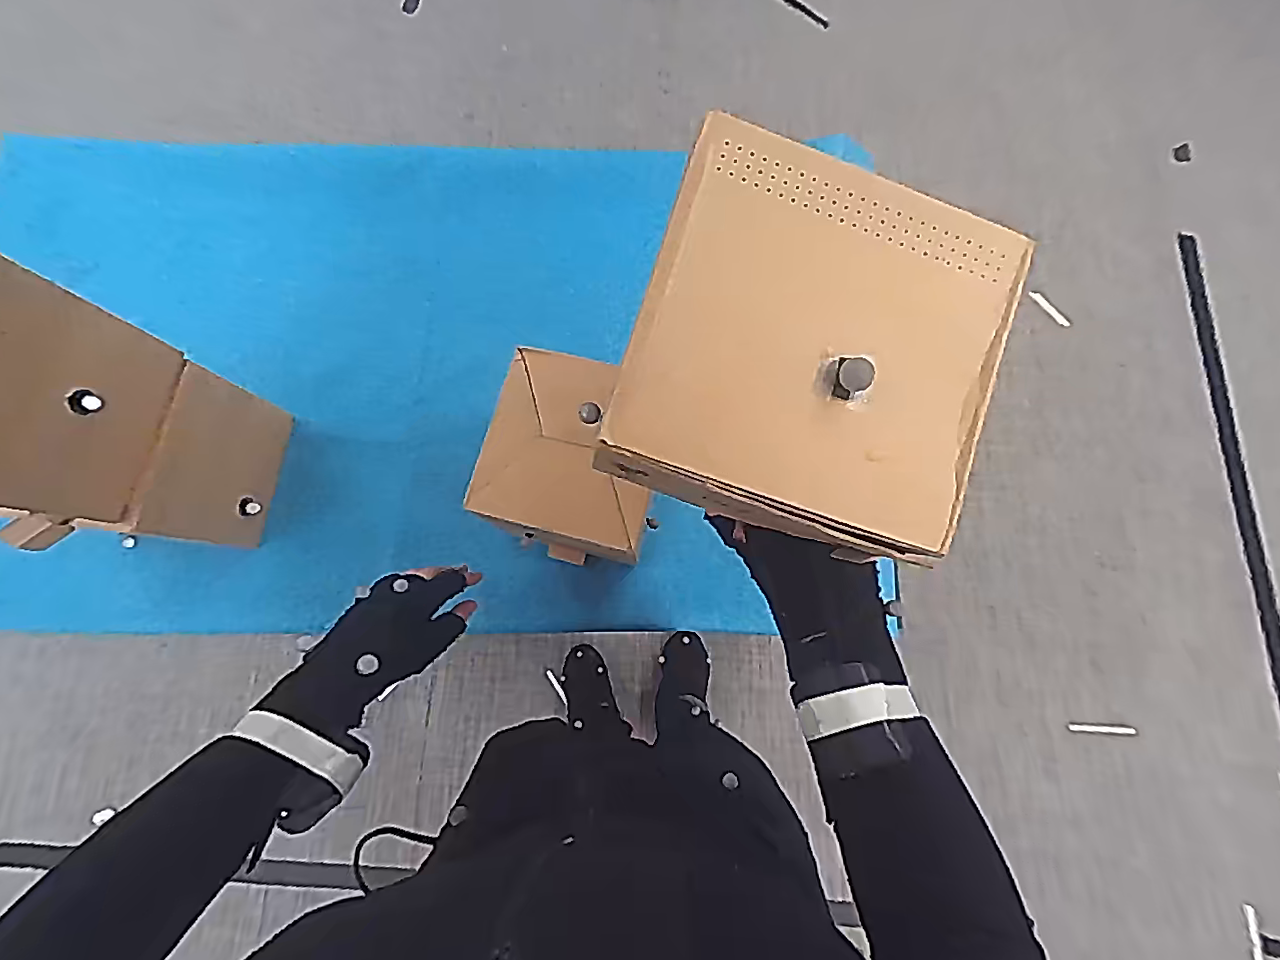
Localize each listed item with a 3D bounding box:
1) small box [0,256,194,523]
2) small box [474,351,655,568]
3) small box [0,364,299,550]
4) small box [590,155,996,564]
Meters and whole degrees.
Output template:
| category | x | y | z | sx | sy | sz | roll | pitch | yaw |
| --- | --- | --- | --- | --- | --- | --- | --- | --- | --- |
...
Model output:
| category | x | y | z | sx | sy | sz | roll | pitch | yaw |
| --- | --- | --- | --- | --- | --- | --- | --- | --- | --- |
| small box | -0.538 | -0.073 | 0.445 | 0.168 | 0.176 | 0.179 | 10 | 79 | 3 |
| small box | -0.062 | -0.014 | 0.595 | 0.168 | 0.176 | 0.179 | 14 | 76 | 3 |
| small box | -0.530 | -0.025 | 0.603 | 0.168 | 0.176 | 0.179 | 7 | 78 | 2 |
| small box | 0.077 | -0.060 | 0.339 | 0.179 | 0.168 | 0.176 | 18 | 85 | -6 |
